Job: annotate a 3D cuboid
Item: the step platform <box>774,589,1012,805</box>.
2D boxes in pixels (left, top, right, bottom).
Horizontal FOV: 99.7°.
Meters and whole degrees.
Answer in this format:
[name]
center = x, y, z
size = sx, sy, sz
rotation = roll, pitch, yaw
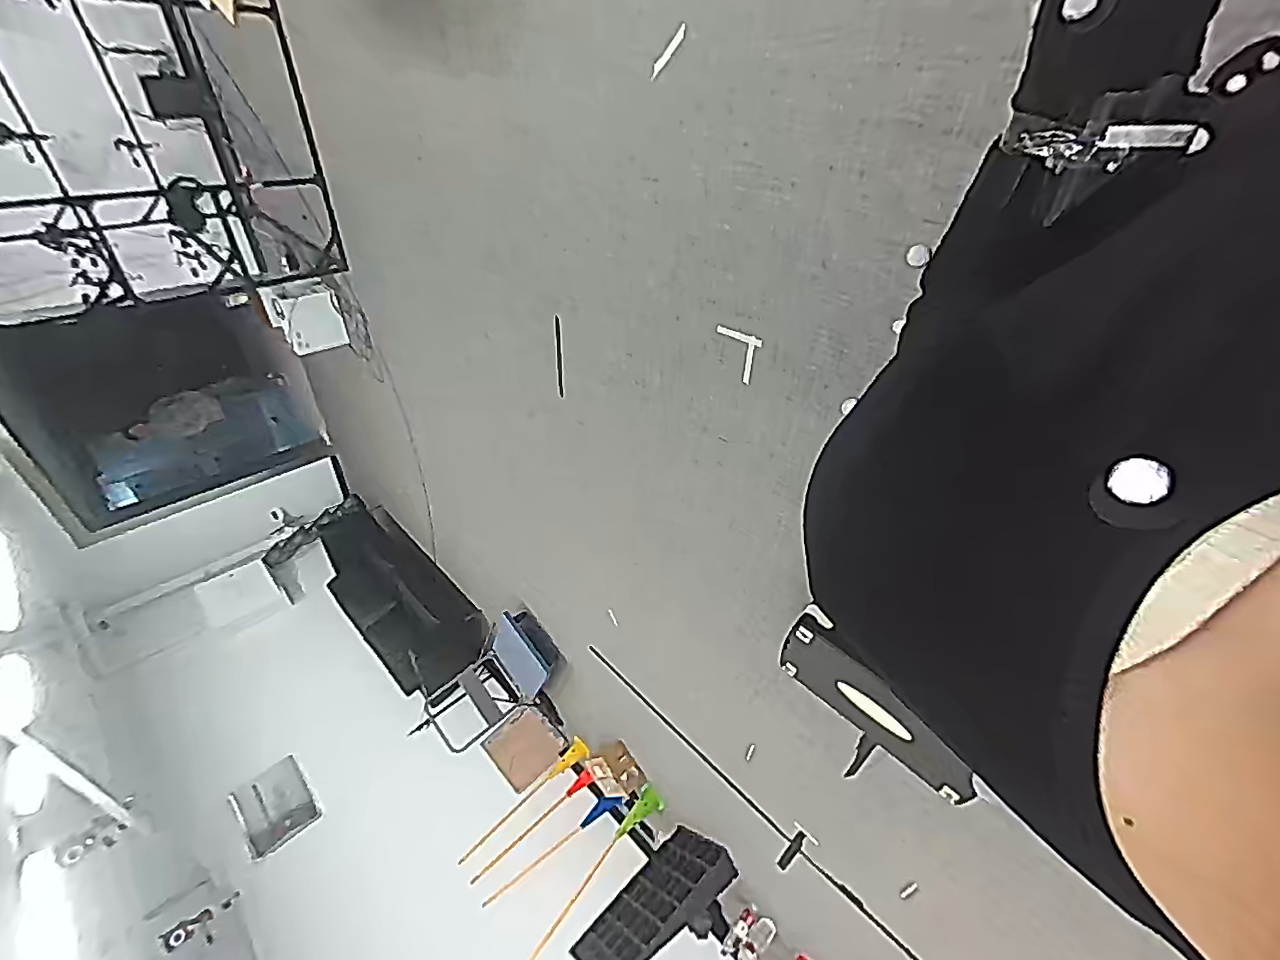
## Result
[step platform]
center = 0.767, 0.677, 1.728
size = 0.684, 0.204, 0.286
rotation = 40, 140, 28
